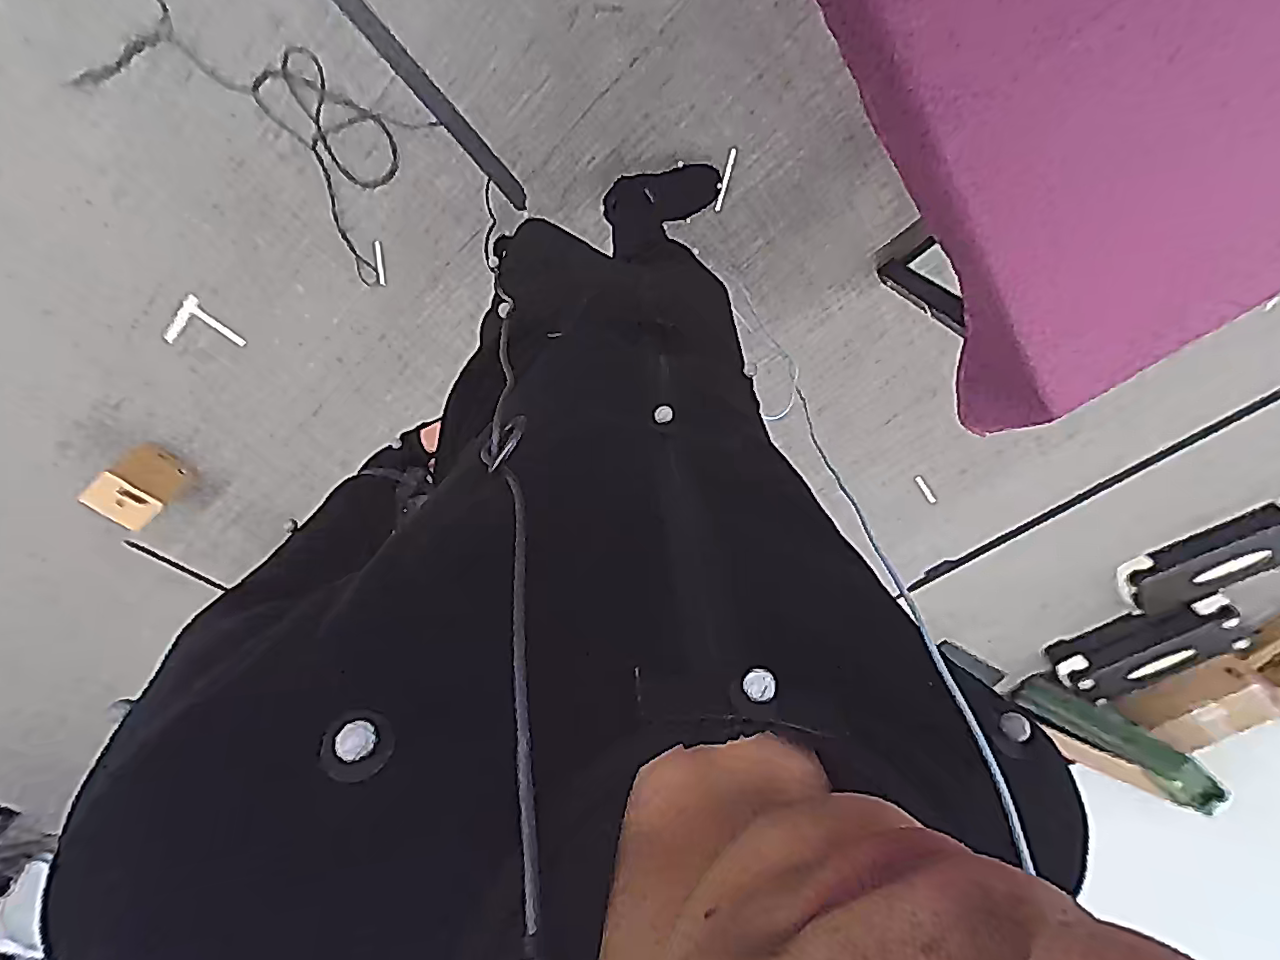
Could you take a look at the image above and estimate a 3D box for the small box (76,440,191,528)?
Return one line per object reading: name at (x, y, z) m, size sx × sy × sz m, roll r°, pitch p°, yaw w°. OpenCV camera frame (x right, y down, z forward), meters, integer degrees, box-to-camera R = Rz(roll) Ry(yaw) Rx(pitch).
small box at (-1.540, 0.007, 1.659) m, size 0.179 × 0.176 × 0.168 m, roll -32°, pitch 121°, yaw 19°
